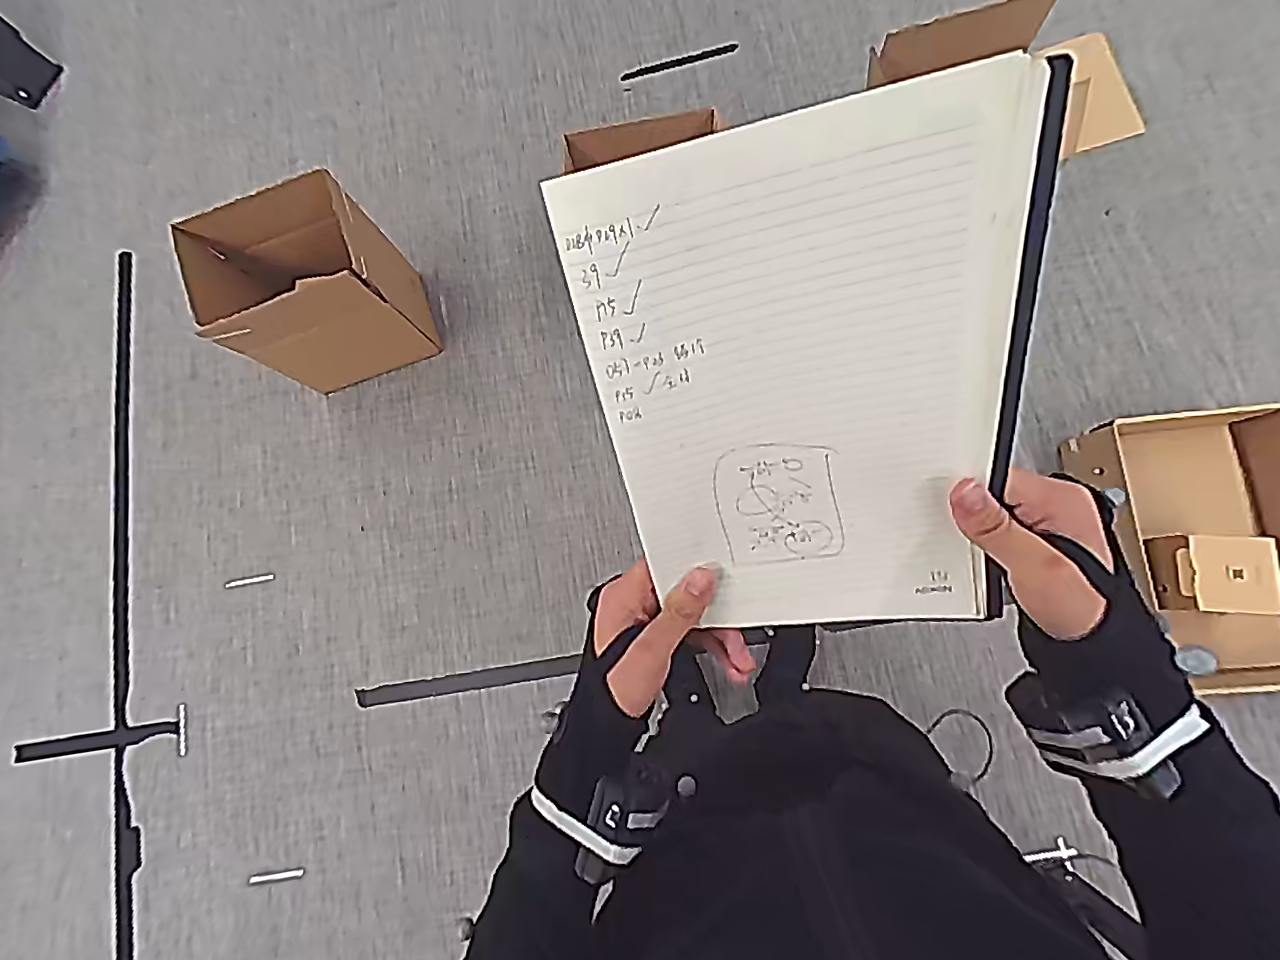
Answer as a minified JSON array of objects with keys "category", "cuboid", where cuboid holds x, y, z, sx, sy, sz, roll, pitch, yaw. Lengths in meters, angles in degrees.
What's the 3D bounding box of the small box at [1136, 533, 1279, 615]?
[{"category":"small box","cuboid":[1.279,0.216,1.229,0.179,0.176,0.168,2,80,7]}]
